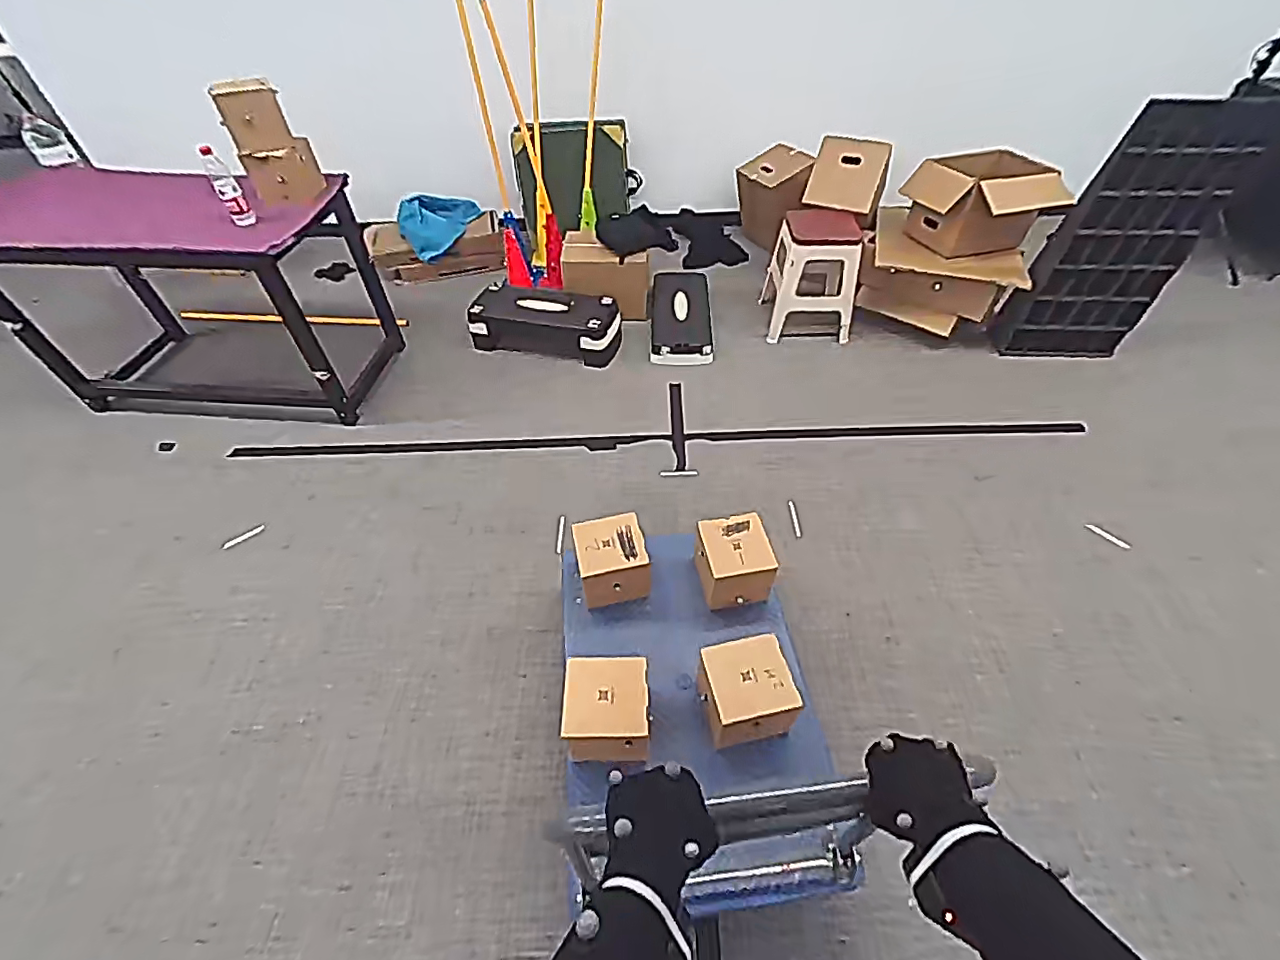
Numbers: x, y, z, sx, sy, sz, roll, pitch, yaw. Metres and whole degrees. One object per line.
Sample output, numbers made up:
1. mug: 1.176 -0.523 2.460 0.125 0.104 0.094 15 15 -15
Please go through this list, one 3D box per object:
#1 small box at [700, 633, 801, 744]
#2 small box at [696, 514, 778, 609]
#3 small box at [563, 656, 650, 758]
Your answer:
1. small box: 0.237 0.471 1.211 0.179 0.176 0.168 -10 49 -7
2. small box: 0.248 0.217 1.435 0.168 0.176 0.179 -8 50 -6
3. small box: -0.067 0.503 1.192 0.179 0.176 0.168 0 48 -1
